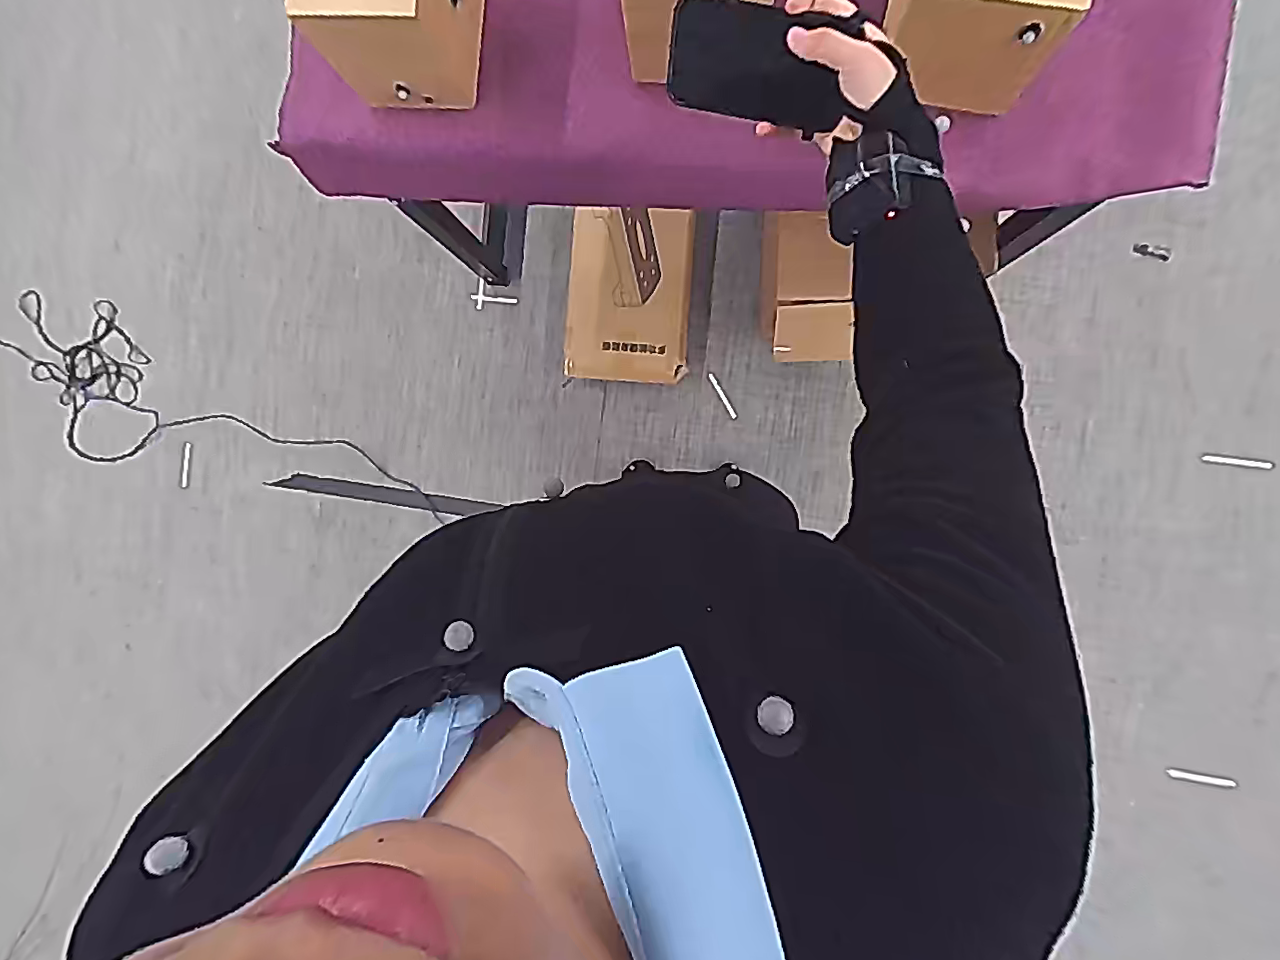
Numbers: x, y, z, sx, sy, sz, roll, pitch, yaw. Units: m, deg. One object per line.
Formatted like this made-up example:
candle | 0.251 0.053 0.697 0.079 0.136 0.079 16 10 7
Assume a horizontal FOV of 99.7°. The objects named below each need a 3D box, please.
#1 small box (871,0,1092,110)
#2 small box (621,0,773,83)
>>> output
small box | 0.388 -0.565 0.620 0.179 0.176 0.168 12 93 6
small box | 0.076 -0.619 0.652 0.179 0.176 0.168 5 90 6
